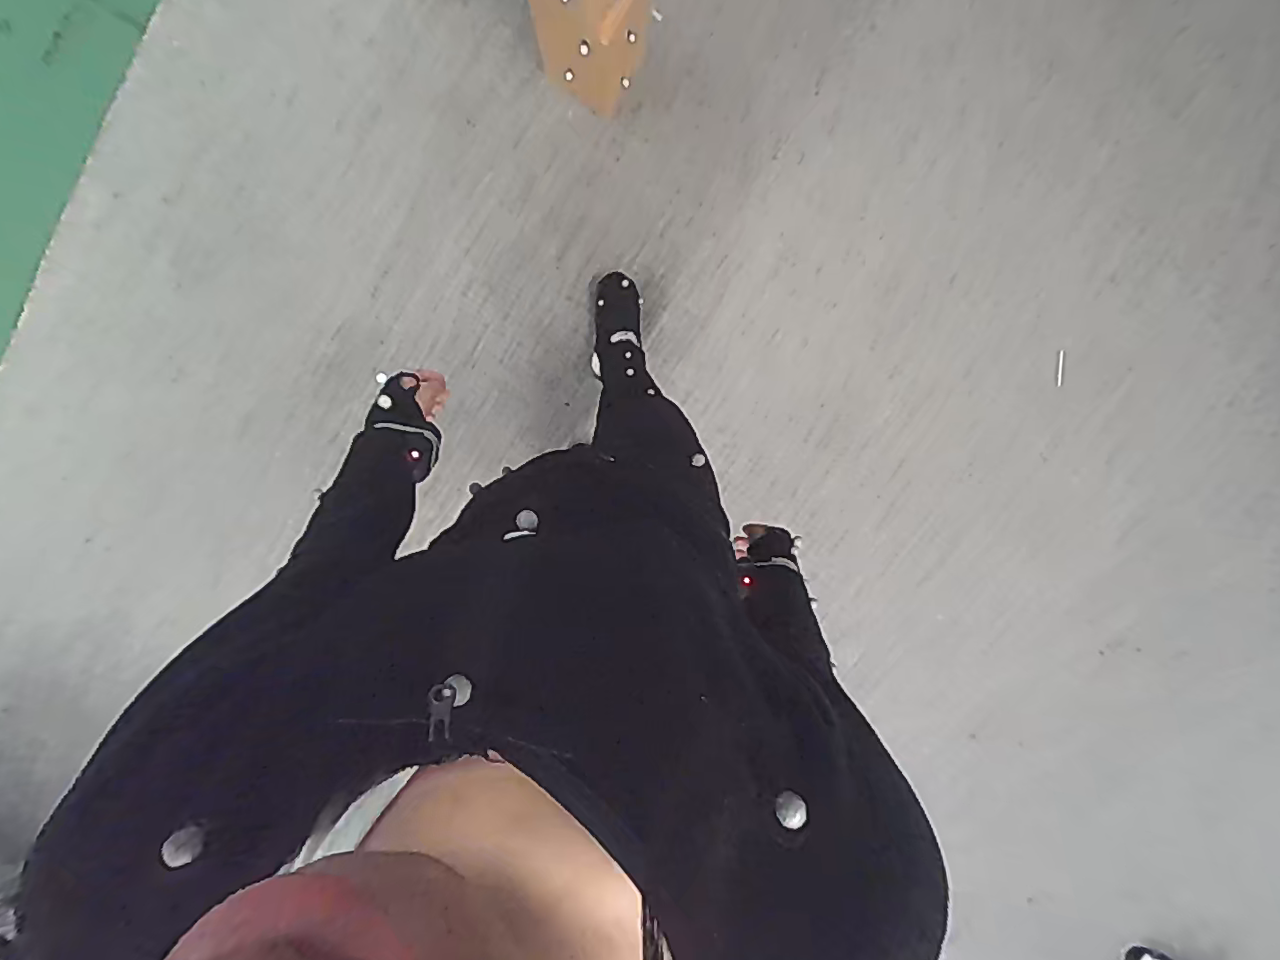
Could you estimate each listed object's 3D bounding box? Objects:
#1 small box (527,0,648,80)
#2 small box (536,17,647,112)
[{"bbox_3d":[-0.094,-0.912,1.028,0.179,0.176,0.168,32,100,-9],"label":"small box"},{"bbox_3d":[-0.103,-0.953,1.188,0.179,0.176,0.168,31,100,-8],"label":"small box"}]
